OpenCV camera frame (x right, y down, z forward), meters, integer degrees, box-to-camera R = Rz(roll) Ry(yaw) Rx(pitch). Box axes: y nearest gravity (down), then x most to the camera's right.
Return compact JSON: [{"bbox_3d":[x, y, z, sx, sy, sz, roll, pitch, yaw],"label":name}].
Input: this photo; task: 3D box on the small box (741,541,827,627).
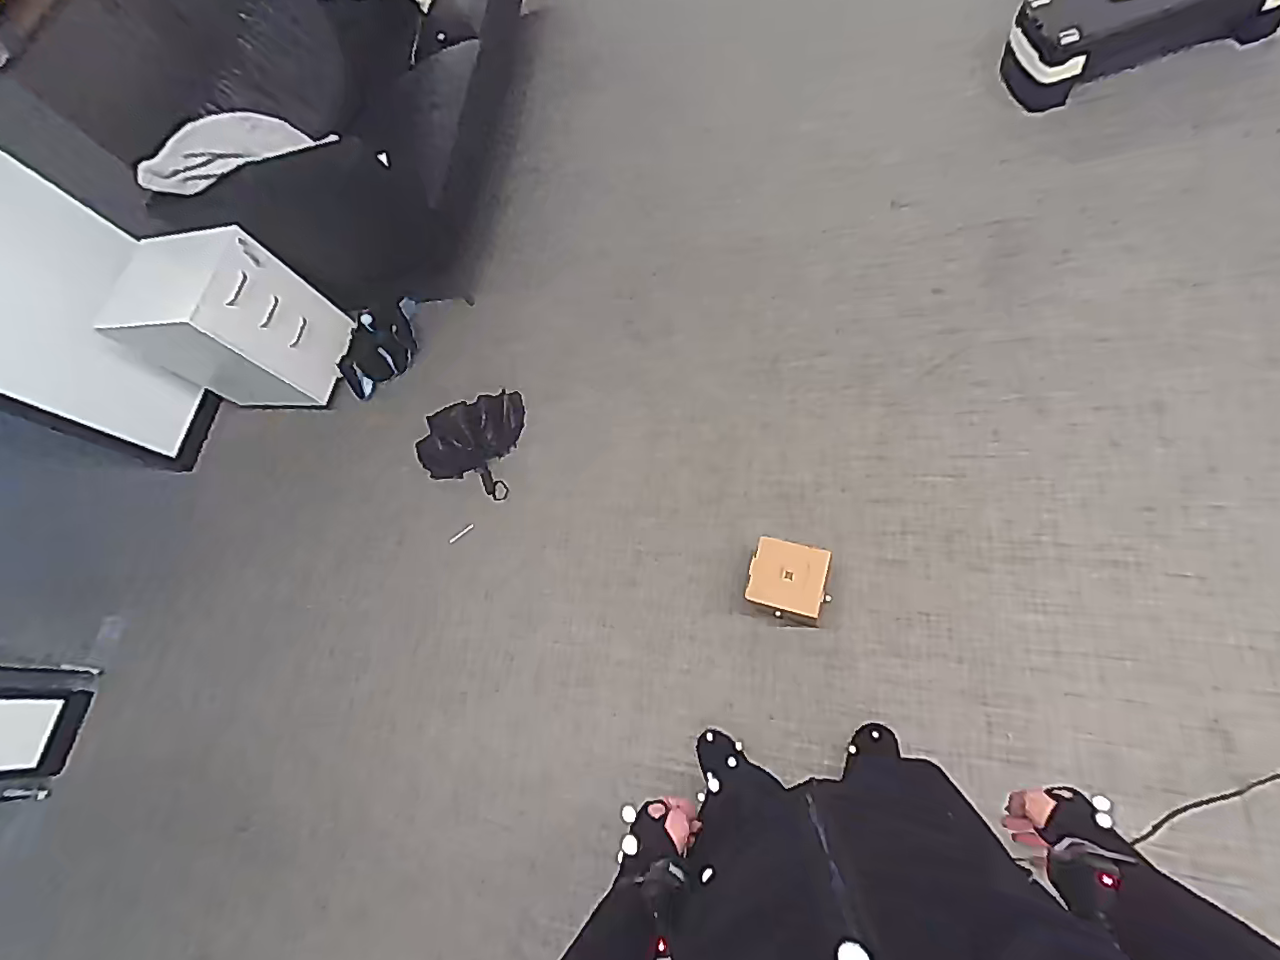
[{"bbox_3d":[0.373,0.273,1.393,0.179,0.176,0.168,12,74,21],"label":"small box"}]
